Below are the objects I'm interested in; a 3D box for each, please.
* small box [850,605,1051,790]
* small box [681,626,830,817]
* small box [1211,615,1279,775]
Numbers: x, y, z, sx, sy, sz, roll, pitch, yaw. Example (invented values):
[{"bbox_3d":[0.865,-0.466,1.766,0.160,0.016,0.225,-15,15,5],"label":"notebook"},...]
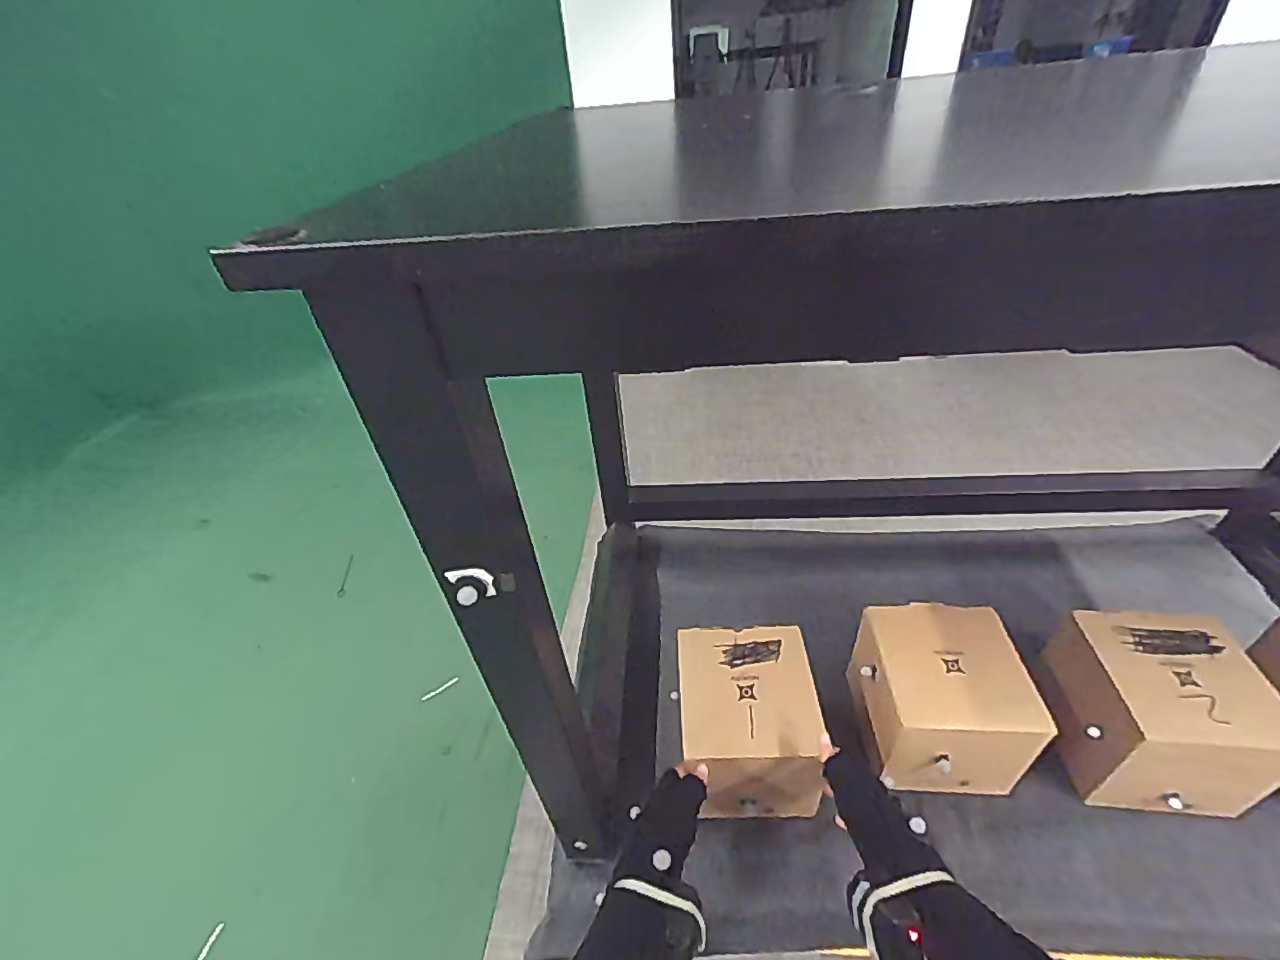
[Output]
[{"bbox_3d":[0.392,0.289,0.722,0.168,0.176,0.179,-1,38,6],"label":"small box"},{"bbox_3d":[0.139,0.317,0.718,0.168,0.176,0.179,-3,39,4],"label":"small box"},{"bbox_3d":[0.880,0.285,0.653,0.168,0.176,0.179,-1,37,6],"label":"small box"}]
